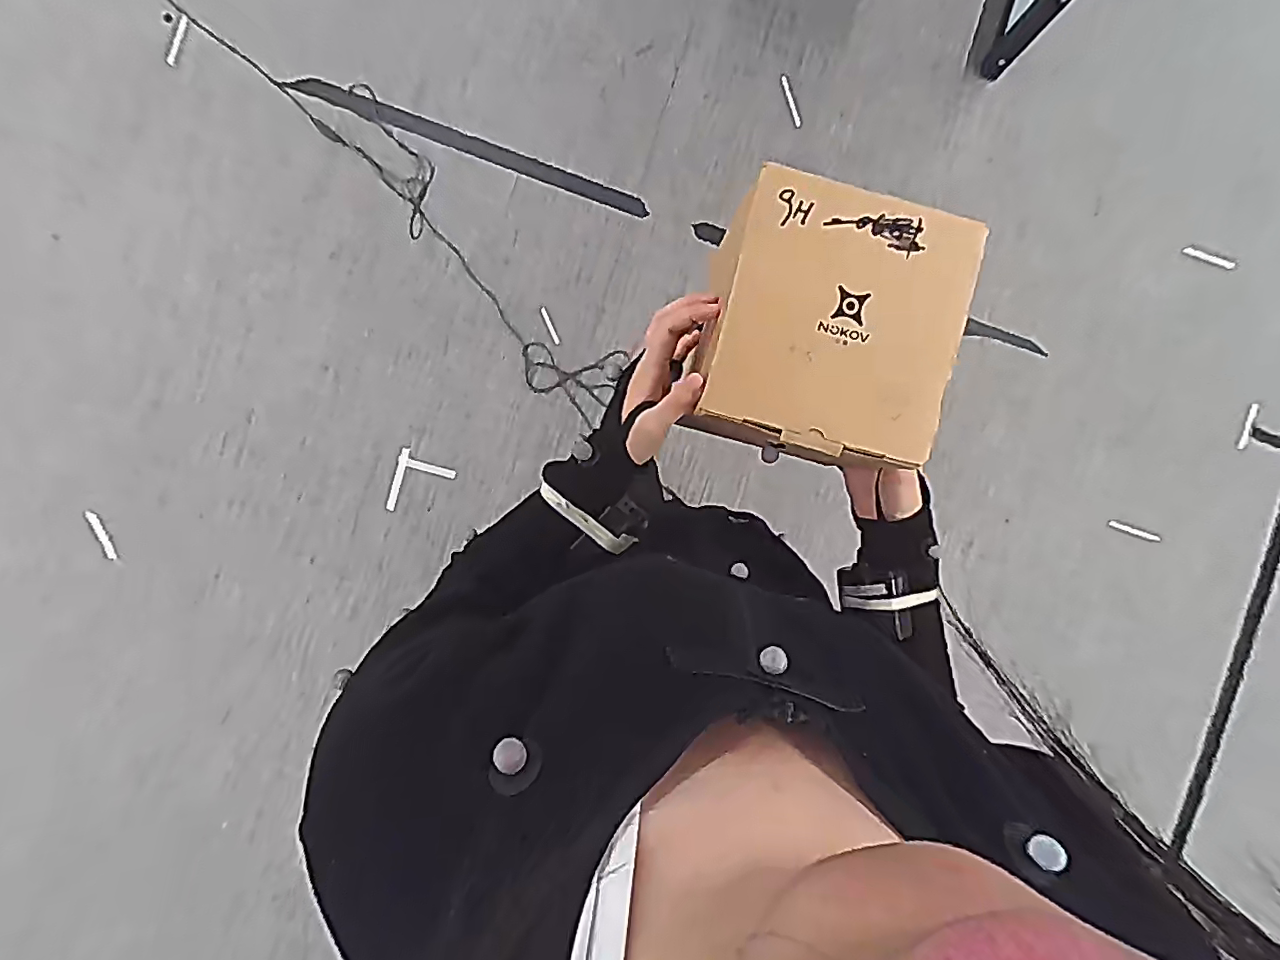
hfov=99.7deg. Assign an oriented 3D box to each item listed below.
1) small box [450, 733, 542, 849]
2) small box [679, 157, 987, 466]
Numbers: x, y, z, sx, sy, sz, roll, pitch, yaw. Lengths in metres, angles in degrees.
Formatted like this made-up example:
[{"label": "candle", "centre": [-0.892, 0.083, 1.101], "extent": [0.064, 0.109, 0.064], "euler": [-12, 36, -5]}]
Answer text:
[{"label": "small box", "centre": [-0.366, 0.804, 1.412], "extent": [0.168, 0.176, 0.179], "euler": [21, 90, -3]}, {"label": "small box", "centre": [0.134, -0.118, 0.448], "extent": [0.168, 0.176, 0.179], "euler": [14, 93, -4]}]
